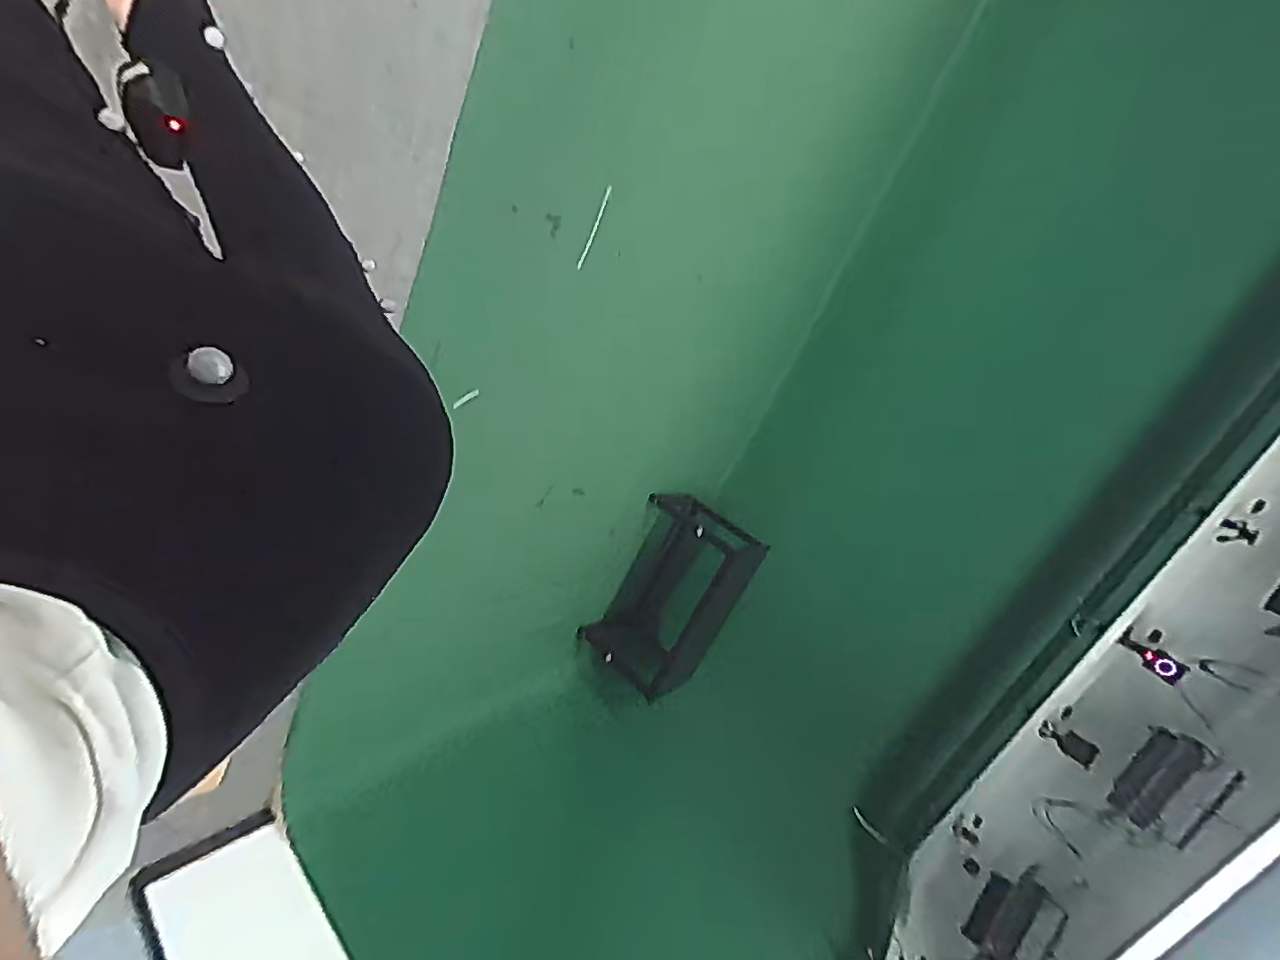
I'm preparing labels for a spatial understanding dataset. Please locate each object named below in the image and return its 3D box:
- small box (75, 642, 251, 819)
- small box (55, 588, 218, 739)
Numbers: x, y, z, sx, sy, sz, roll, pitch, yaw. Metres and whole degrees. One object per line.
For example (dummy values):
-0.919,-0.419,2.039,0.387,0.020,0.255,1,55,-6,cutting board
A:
-0.796,0.403,0.900,0.168,0.176,0.179,6,116,-59,small box
-0.912,0.319,0.978,0.168,0.176,0.179,8,114,-59,small box
